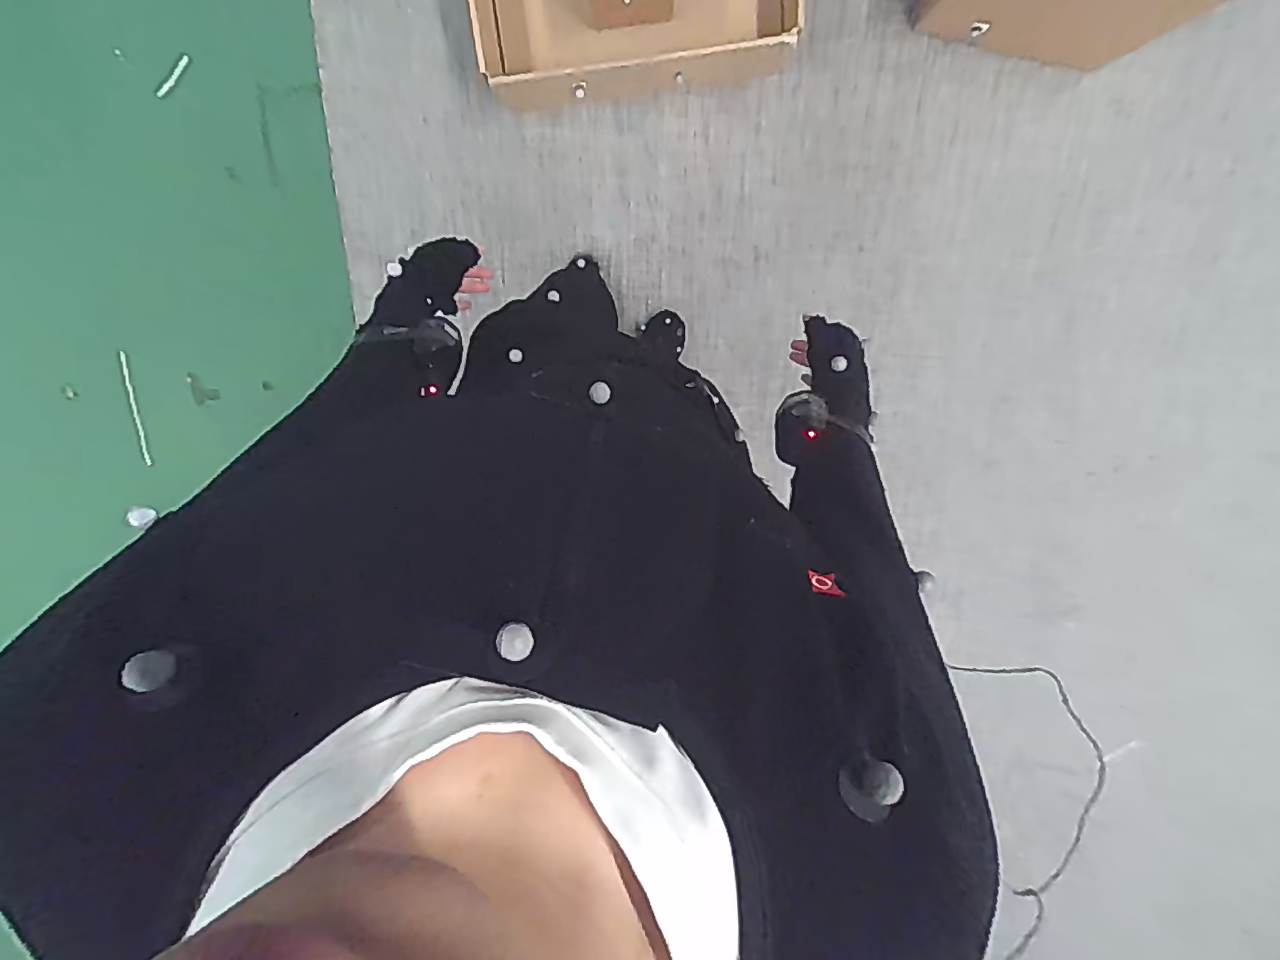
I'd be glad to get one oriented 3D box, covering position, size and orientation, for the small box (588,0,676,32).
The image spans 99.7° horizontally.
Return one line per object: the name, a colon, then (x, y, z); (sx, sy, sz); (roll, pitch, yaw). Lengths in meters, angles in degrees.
small box: (-0.020, -0.994, 1.031); (0.179, 0.176, 0.168); (-4, 108, 3)
